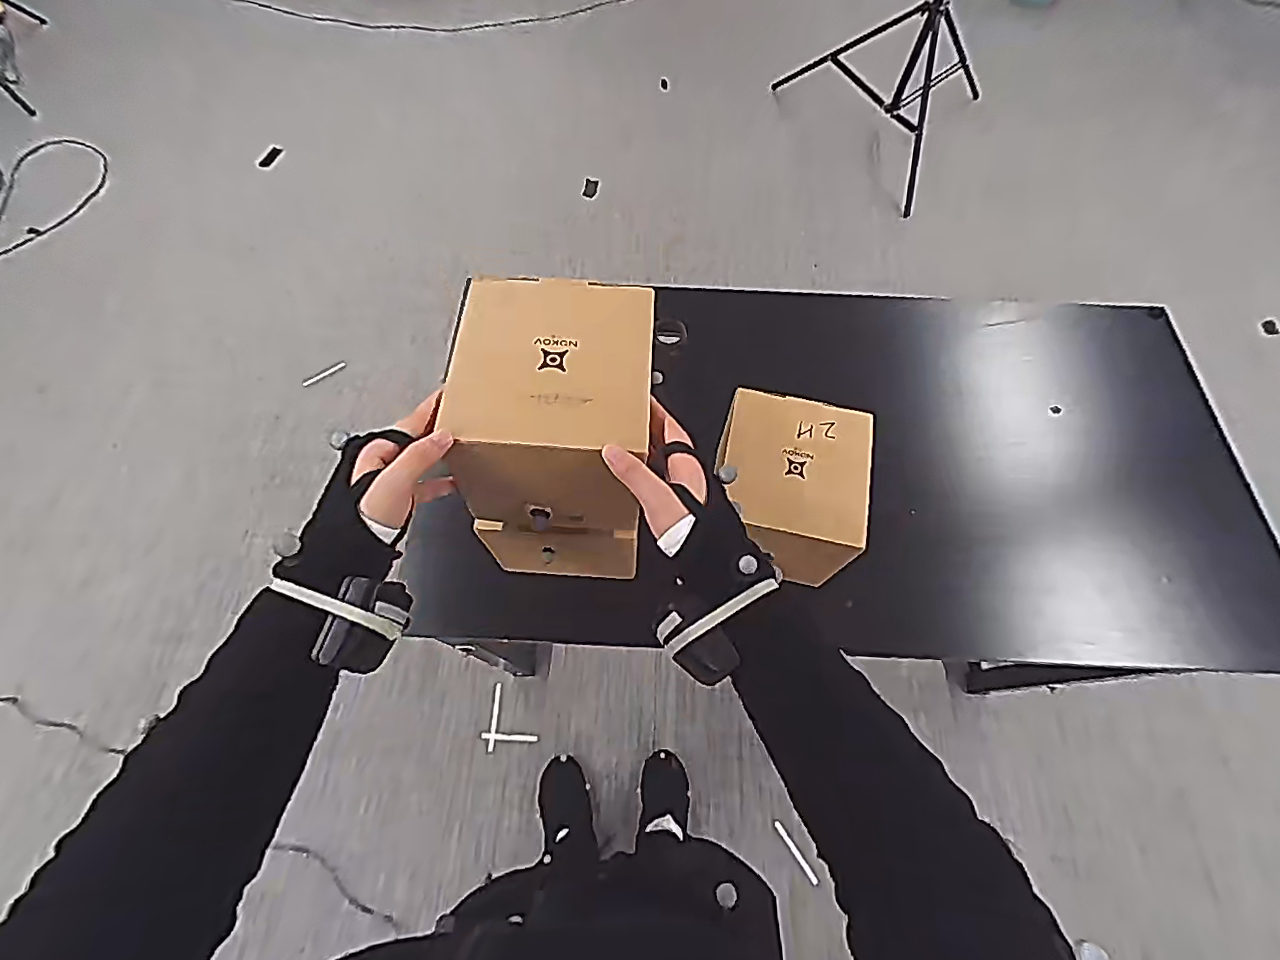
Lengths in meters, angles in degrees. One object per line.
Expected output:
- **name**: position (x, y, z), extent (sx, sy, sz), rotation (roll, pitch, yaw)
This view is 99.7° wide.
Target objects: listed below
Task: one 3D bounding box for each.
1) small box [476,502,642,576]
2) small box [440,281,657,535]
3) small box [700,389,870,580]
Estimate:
- **small box**: position (-0.087, 0.019, 0.688), extent (0.179, 0.176, 0.168), rotation (3, 65, 1)
- **small box**: position (-0.075, -0.063, 0.527), extent (0.168, 0.176, 0.179), rotation (3, 63, -2)
- **small box**: position (0.176, 0.015, 0.693), extent (0.168, 0.176, 0.179), rotation (12, 65, 4)
